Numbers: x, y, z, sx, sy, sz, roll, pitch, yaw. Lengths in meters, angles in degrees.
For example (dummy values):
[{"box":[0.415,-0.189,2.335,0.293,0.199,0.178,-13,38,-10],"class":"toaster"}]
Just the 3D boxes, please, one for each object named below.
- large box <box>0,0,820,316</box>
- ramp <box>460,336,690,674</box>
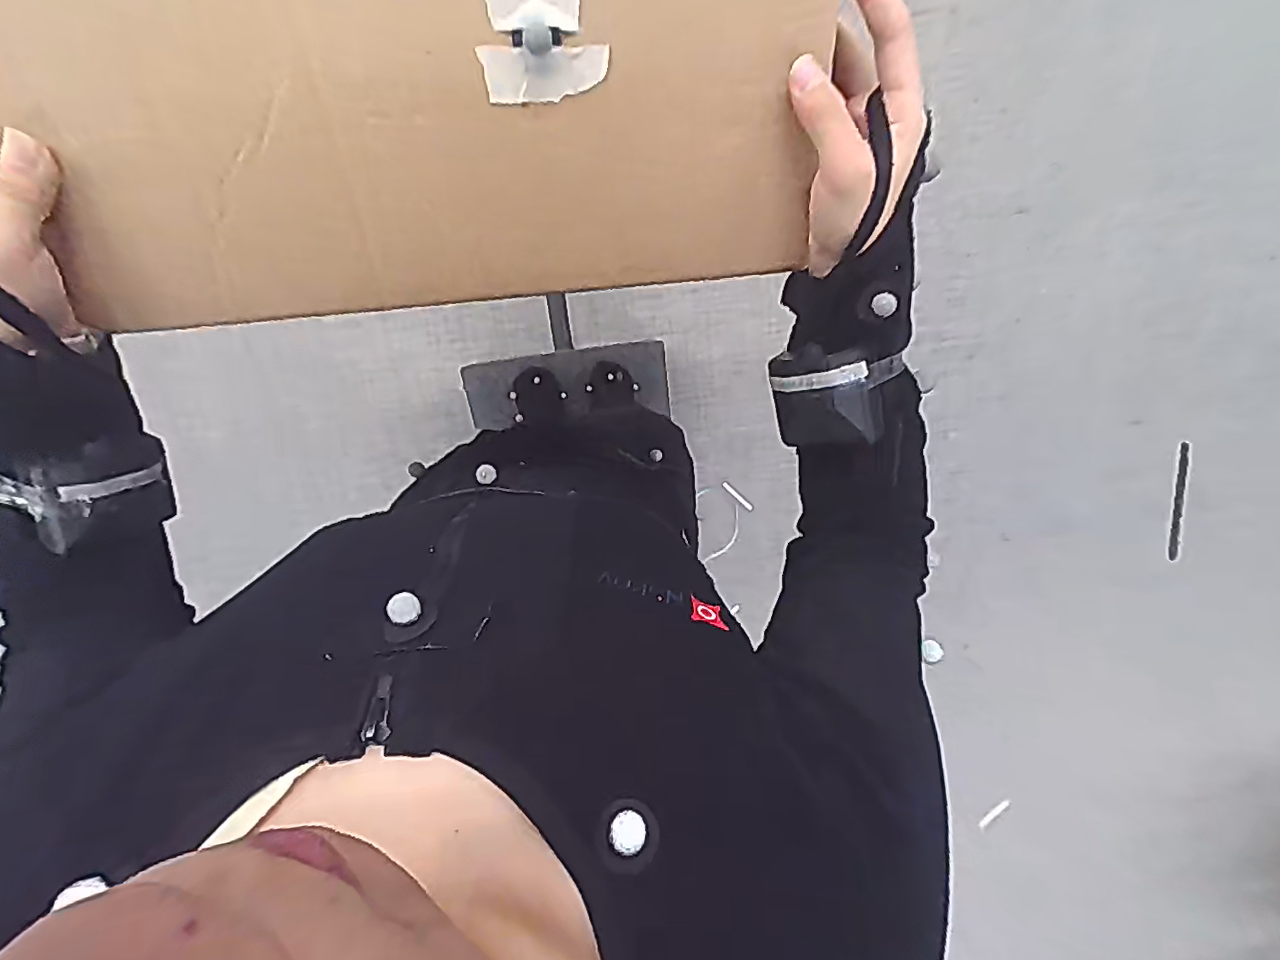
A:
[{"box":[-0.129,-0.321,0.354,0.408,0.320,0.320,-6,123,-3],"class":"large box"},{"box":[-0.131,0.130,1.496,0.509,0.206,0.991,-10,106,-2],"class":"ramp"}]
